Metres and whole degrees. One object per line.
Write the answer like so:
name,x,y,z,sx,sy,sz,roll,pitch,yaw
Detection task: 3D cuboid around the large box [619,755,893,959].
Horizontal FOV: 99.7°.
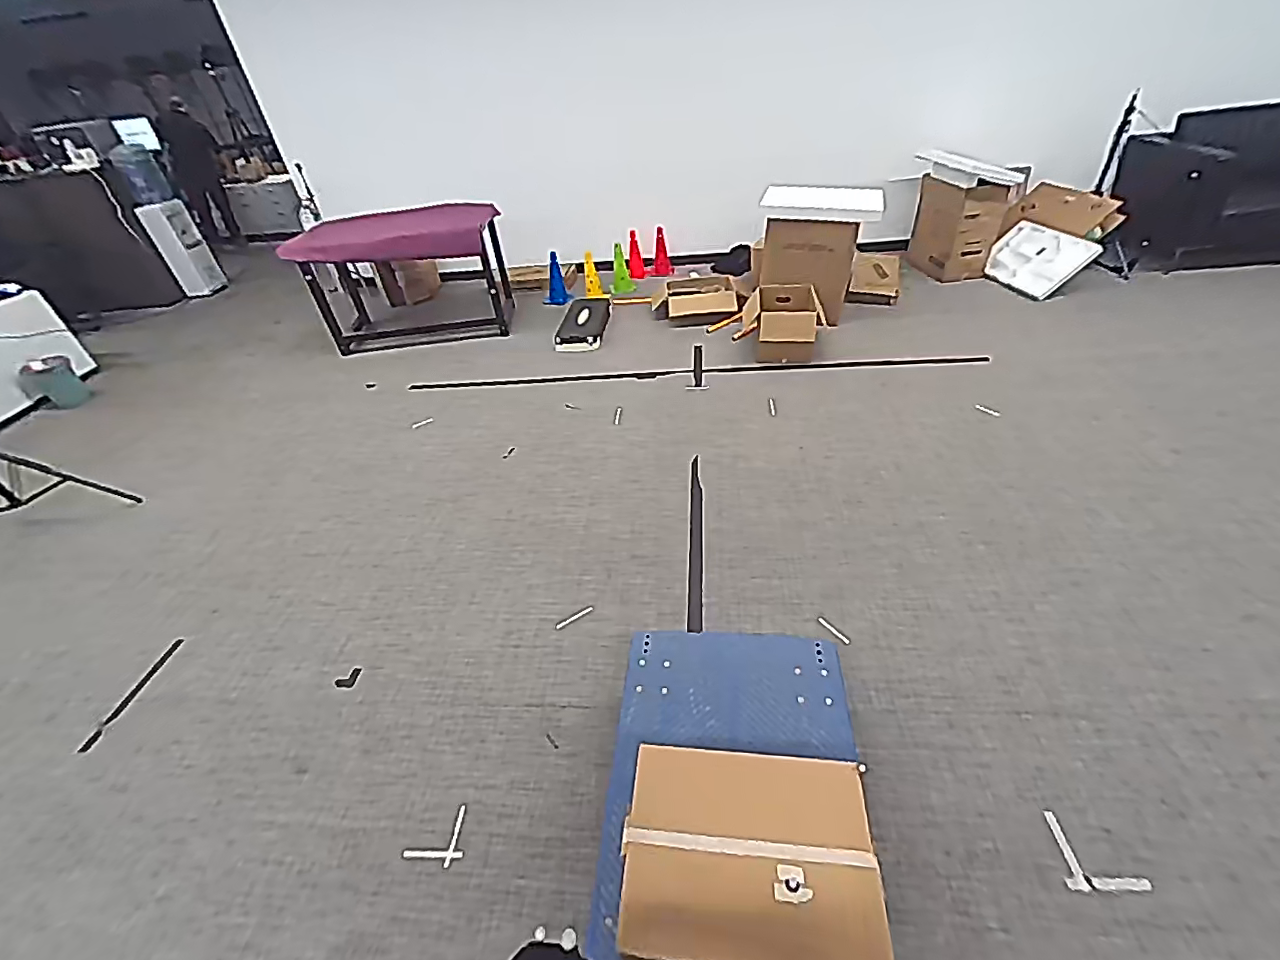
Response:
large box,0.187,0.736,0.978,0.408,0.320,0.320,1,40,8
